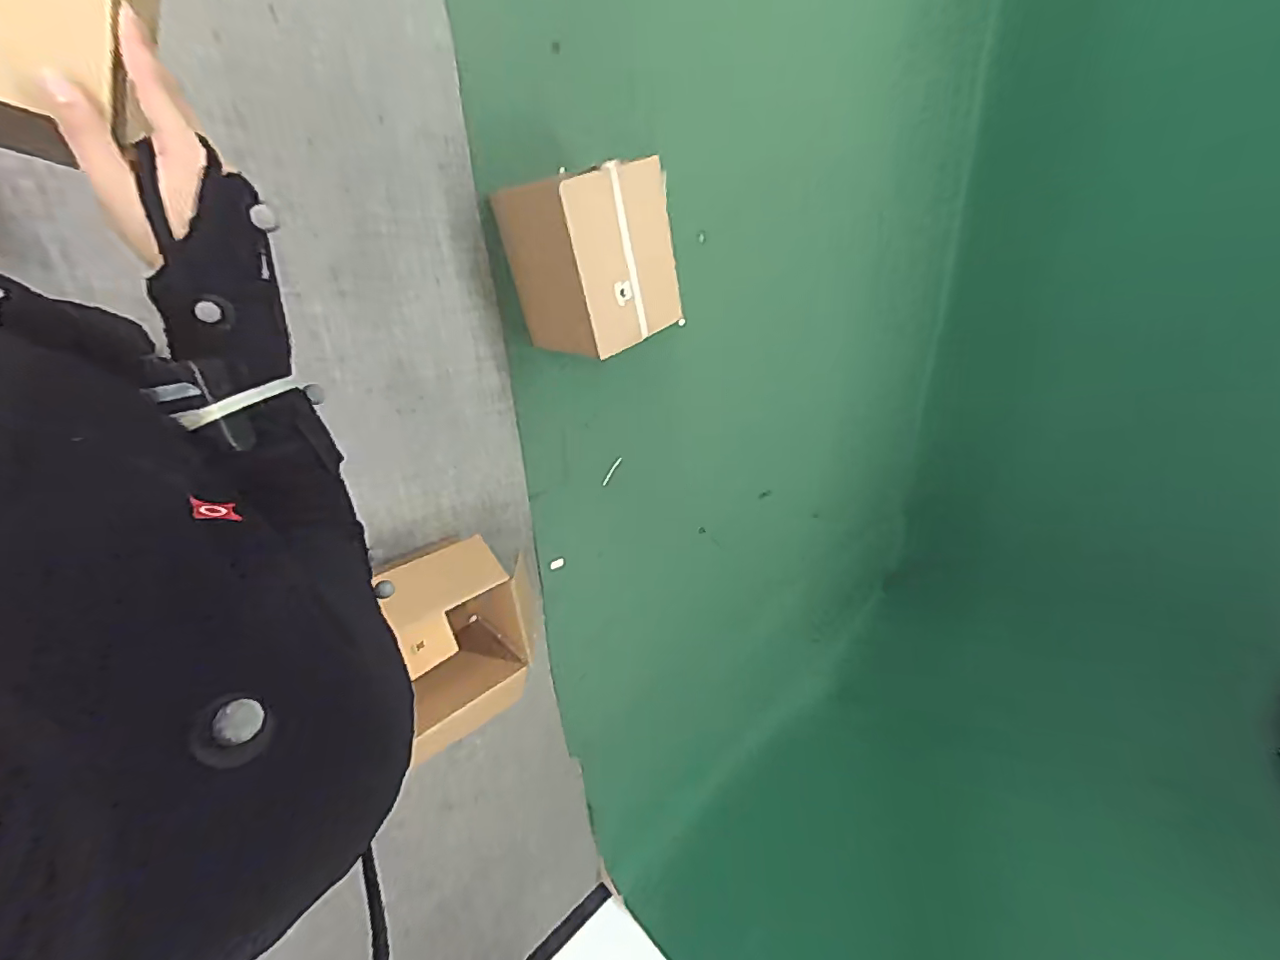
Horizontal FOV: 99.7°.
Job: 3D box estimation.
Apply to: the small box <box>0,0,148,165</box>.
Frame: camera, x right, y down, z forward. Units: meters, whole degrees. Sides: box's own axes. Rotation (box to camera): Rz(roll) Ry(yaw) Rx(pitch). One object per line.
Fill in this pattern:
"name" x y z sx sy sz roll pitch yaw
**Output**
"small box" -0.391 -0.294 0.285 0.179 0.176 0.168 4 103 -38
